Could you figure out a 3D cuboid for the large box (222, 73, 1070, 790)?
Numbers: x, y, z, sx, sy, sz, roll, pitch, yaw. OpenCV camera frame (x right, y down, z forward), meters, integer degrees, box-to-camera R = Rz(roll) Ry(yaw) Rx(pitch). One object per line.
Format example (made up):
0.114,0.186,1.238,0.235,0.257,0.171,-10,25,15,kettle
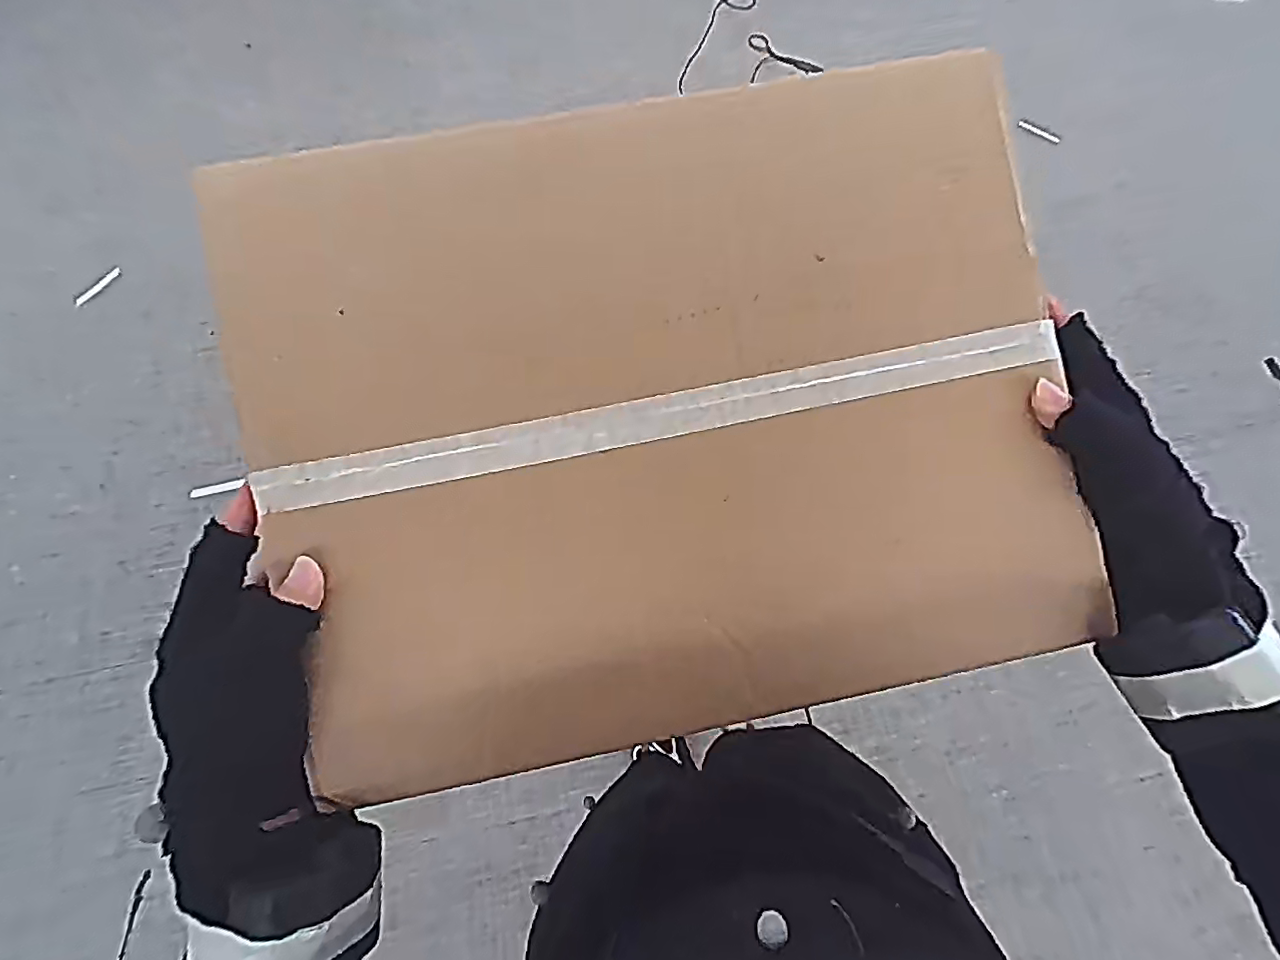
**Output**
0.006,-0.032,0.429,0.408,0.320,0.320,-11,89,-4,large box
